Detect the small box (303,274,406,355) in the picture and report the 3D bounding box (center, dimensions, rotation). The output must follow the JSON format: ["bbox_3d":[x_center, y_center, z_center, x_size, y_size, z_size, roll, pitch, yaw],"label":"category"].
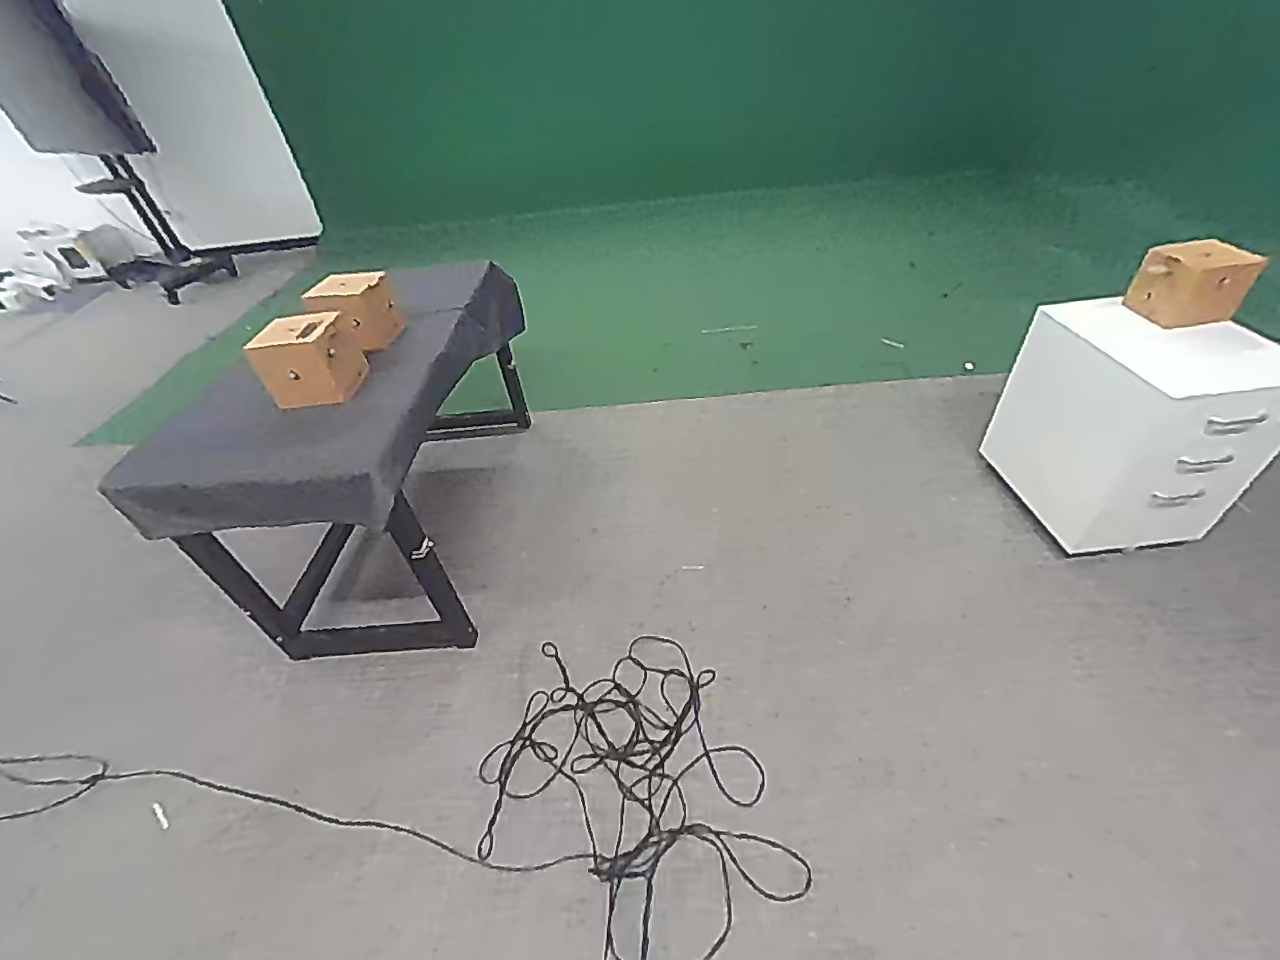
[{"bbox_3d":[-0.807,-0.474,1.554,0.179,0.176,0.168,-2,40,8],"label":"small box"}]

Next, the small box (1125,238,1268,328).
[{"bbox_3d":[1.491,-0.531,1.465,0.179,0.176,0.168,-9,42,1],"label":"small box"}]
